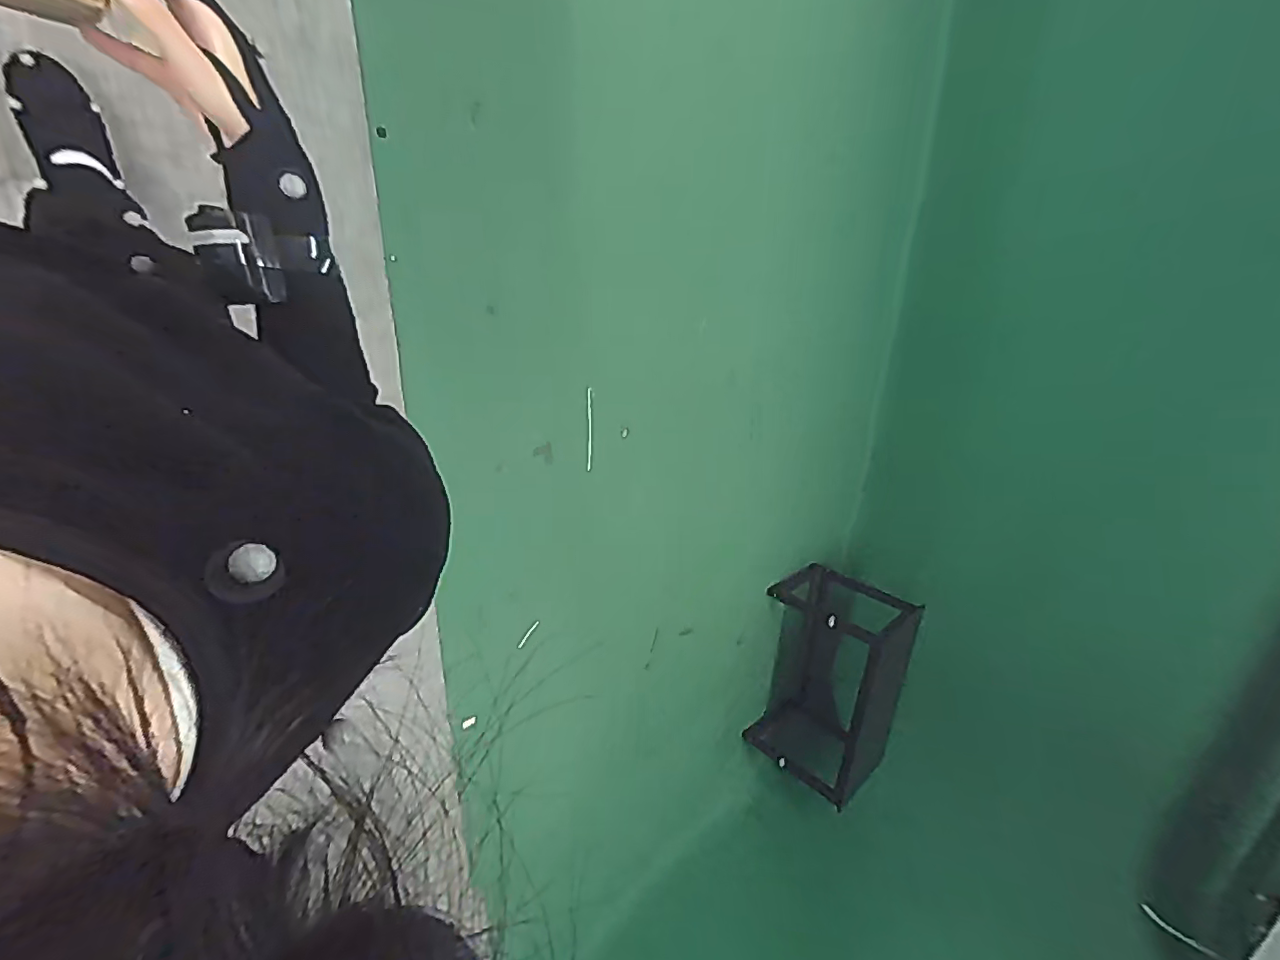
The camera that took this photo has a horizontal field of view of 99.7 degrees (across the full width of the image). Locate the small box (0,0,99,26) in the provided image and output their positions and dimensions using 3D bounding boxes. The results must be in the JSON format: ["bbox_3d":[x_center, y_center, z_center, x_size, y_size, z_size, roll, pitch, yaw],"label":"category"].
[{"bbox_3d":[-0.388,-0.355,0.251,0.168,0.176,0.179,-12,123,-44],"label":"small box"}]
